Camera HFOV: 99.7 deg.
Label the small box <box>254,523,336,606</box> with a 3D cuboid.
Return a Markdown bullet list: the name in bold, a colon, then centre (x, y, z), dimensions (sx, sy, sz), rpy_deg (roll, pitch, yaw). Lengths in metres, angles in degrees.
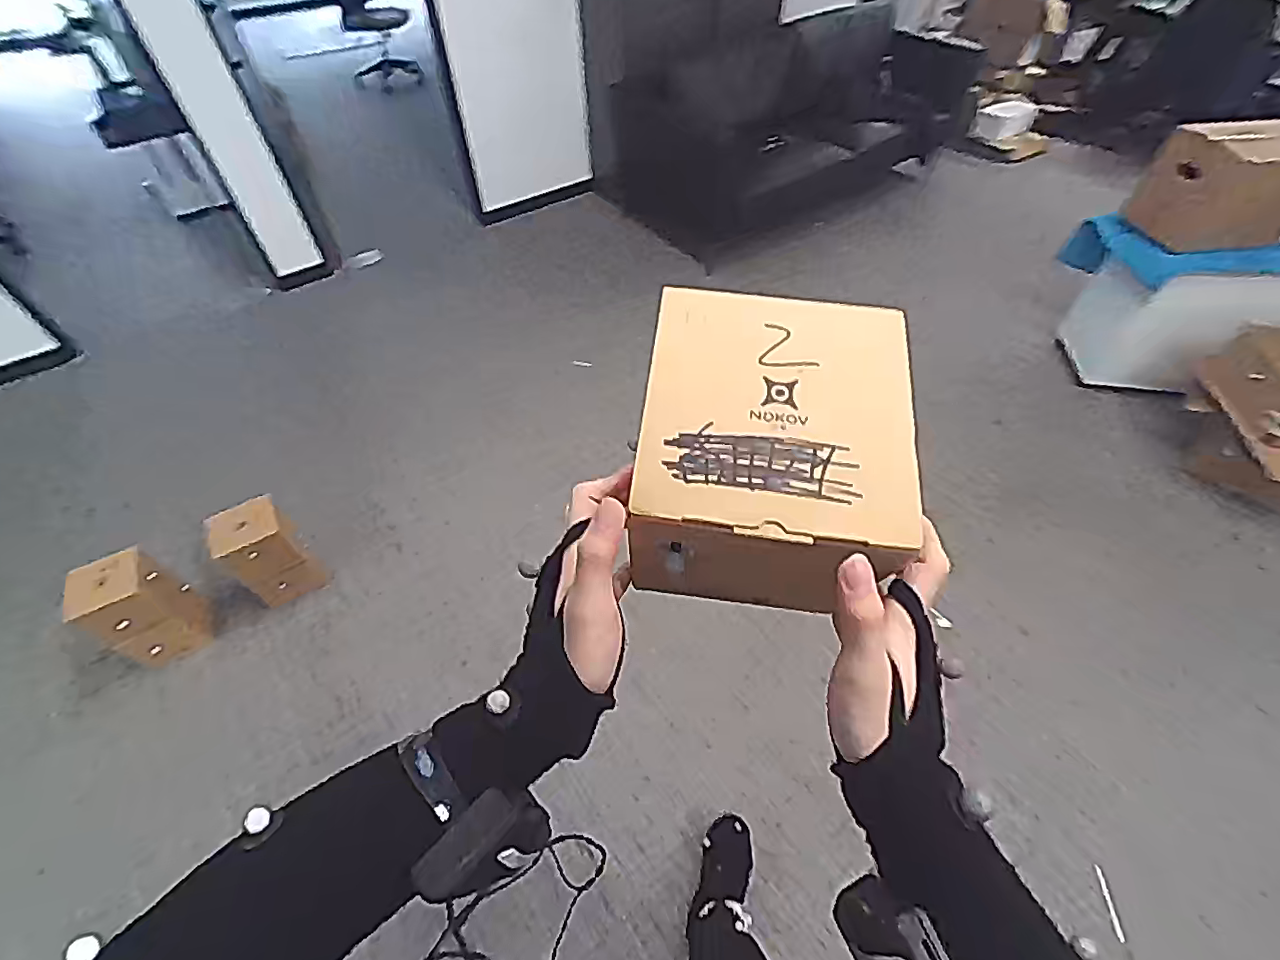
- **small box**: centre (-1.137, 0.282, 1.771), dimensions (0.179, 0.176, 0.168), rpy_deg (-29, 56, -20)

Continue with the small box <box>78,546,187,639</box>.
- **small box**: centre (-1.424, 0.326, 1.529), dimensions (0.168, 0.176, 0.179), rpy_deg (-25, 54, -19)

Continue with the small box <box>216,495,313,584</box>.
- **small box**: centre (-1.134, 0.184, 1.639), dimensions (0.179, 0.176, 0.168), rpy_deg (-27, 55, -20)

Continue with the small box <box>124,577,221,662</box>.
- **small box**: centre (-1.425, 0.433, 1.655), dimensions (0.168, 0.176, 0.179), rpy_deg (-26, 54, -19)
